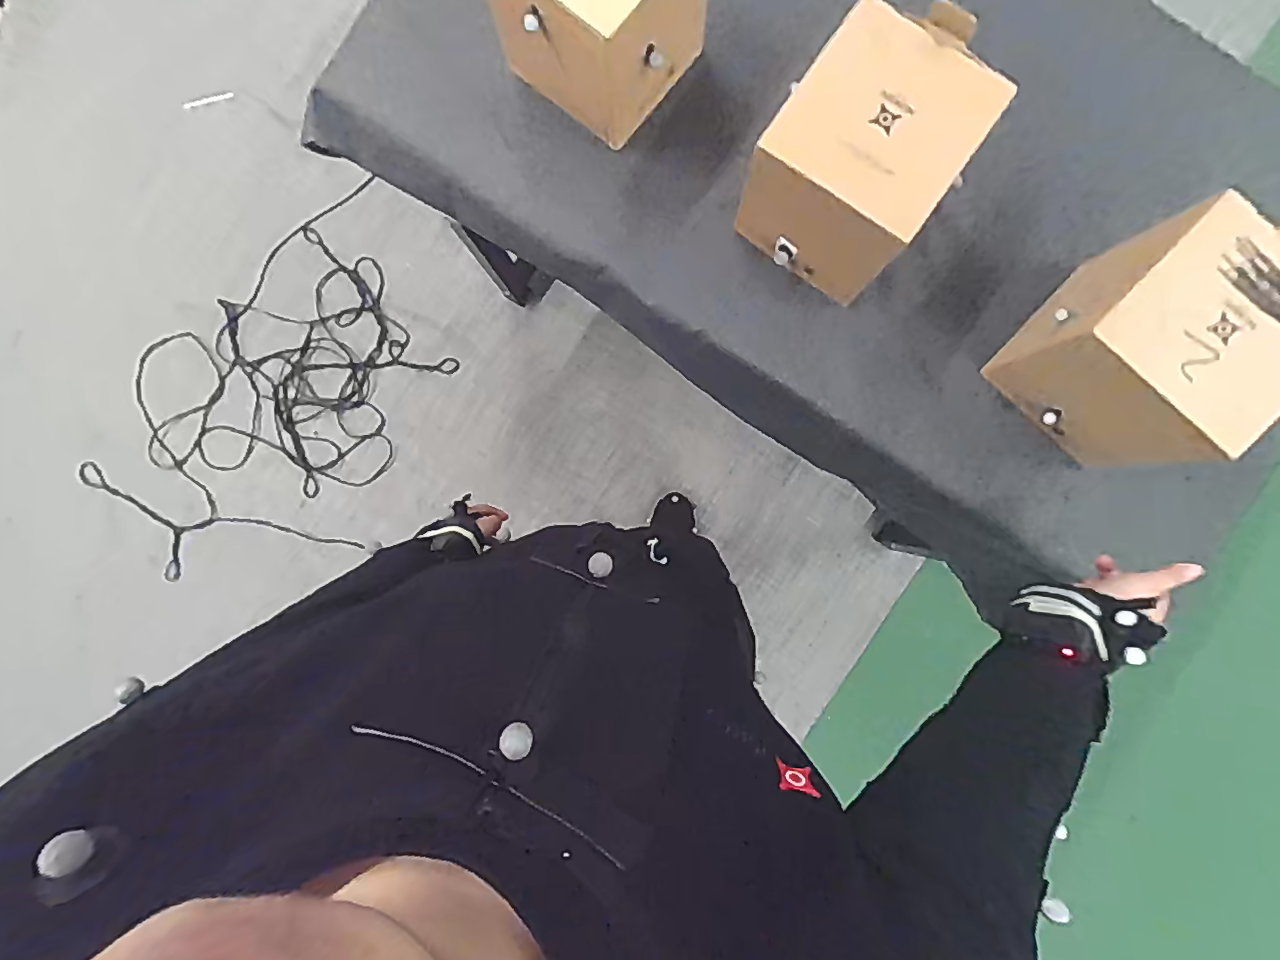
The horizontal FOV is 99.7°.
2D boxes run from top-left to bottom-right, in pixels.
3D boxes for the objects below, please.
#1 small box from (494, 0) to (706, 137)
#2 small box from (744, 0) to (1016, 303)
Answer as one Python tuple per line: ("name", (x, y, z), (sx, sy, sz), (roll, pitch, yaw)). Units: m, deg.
("small box", (-0.039, -0.513, 0.576), (0.179, 0.176, 0.168), (39, 89, 2))
("small box", (0.227, -0.323, 0.566), (0.168, 0.176, 0.179), (34, 90, 3))
